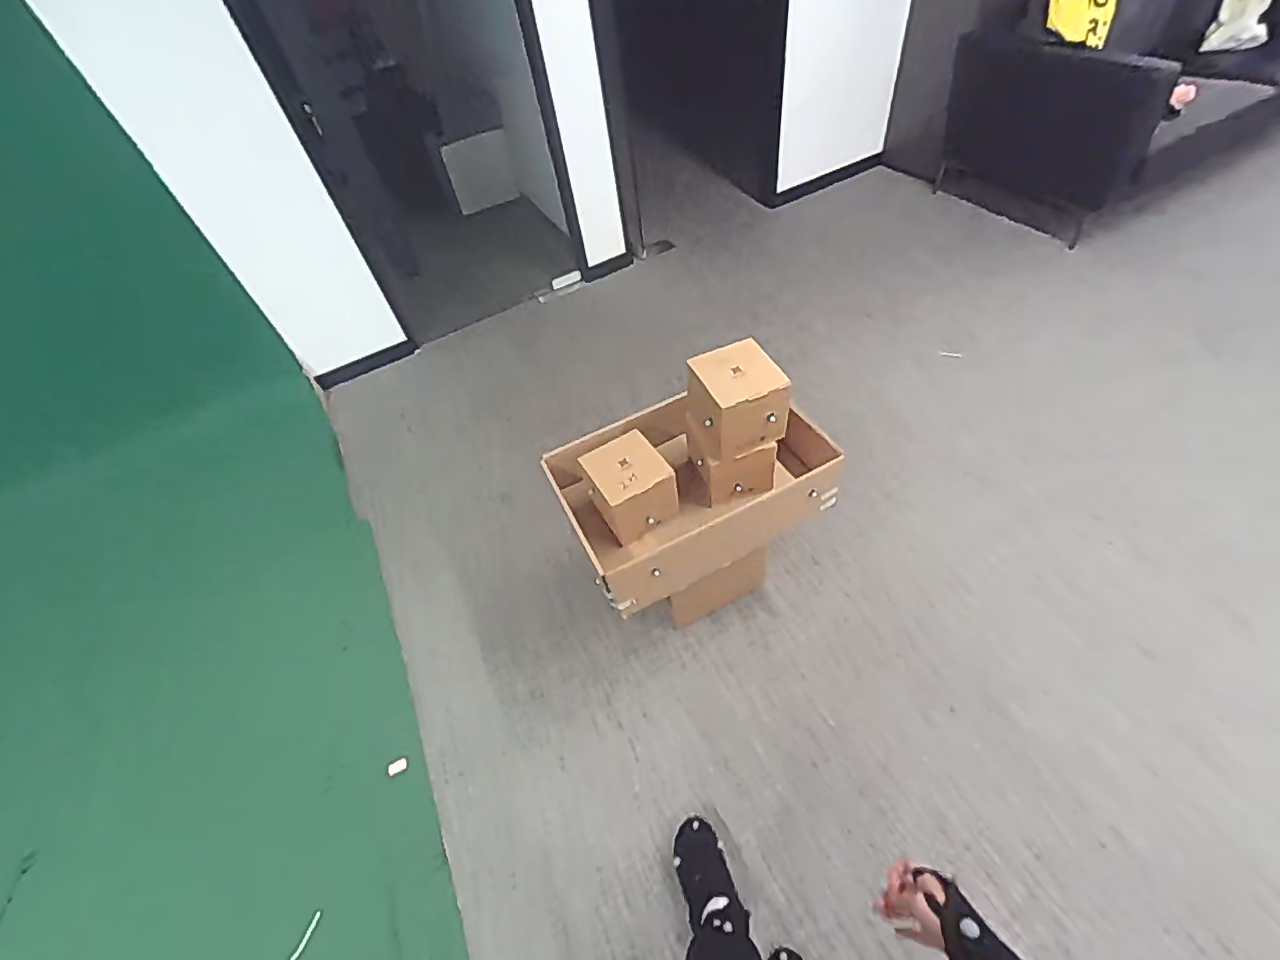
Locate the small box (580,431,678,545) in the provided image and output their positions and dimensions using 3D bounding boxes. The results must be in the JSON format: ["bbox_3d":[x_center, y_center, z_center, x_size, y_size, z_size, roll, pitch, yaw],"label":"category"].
[{"bbox_3d":[-0.024,0.022,1.289,0.168,0.176,0.179,-28,52,-14],"label":"small box"}]

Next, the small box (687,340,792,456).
[{"bbox_3d":[0.217,-0.175,1.205,0.168,0.176,0.179,-20,51,-9],"label":"small box"}]
